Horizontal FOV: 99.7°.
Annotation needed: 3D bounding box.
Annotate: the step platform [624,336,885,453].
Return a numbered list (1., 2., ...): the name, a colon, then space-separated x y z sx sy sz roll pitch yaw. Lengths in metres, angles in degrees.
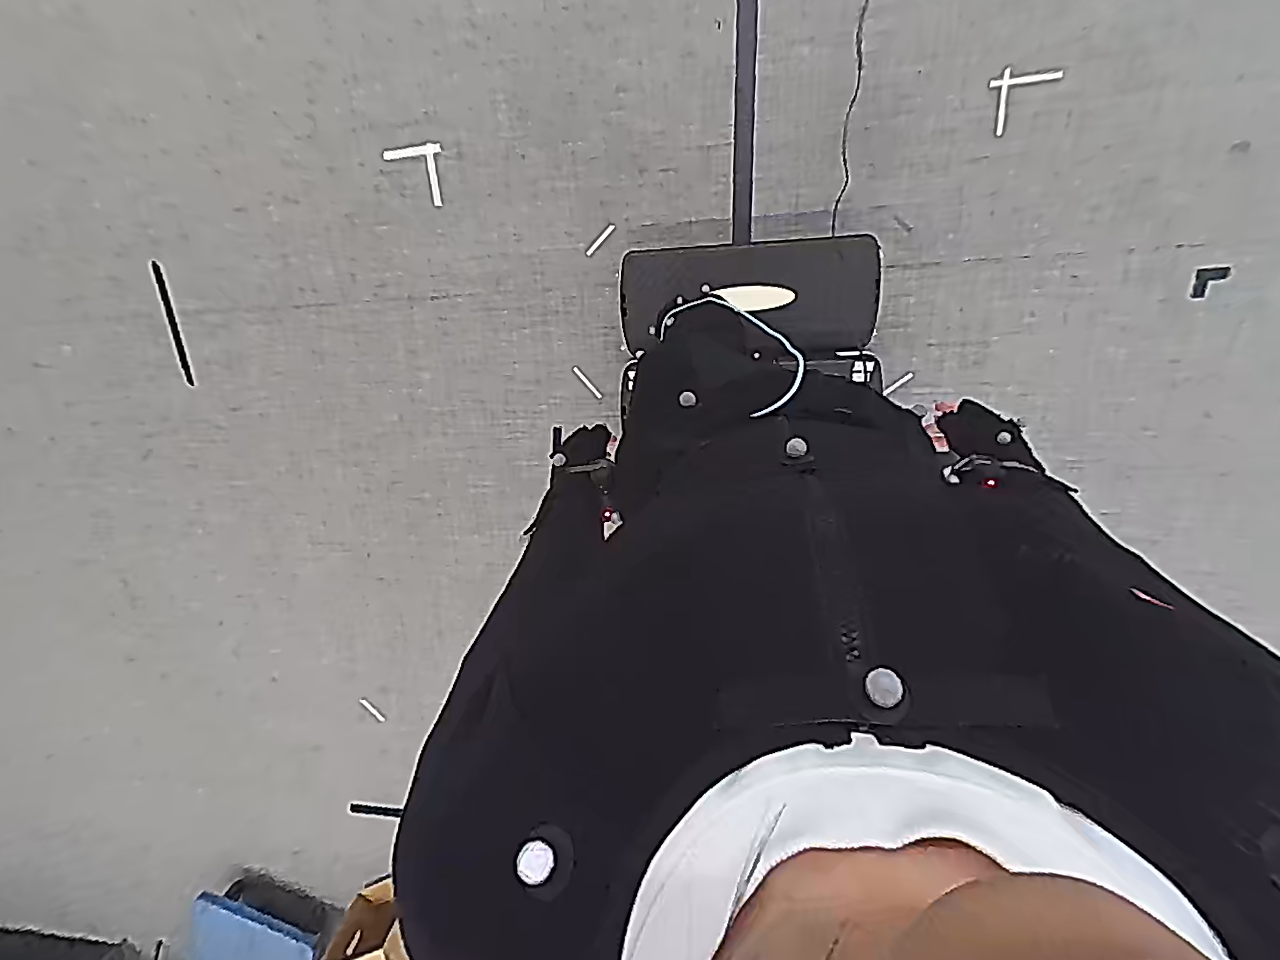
1. step platform: 0.297 -0.229 1.478 0.684 0.204 0.286 -1 106 10
